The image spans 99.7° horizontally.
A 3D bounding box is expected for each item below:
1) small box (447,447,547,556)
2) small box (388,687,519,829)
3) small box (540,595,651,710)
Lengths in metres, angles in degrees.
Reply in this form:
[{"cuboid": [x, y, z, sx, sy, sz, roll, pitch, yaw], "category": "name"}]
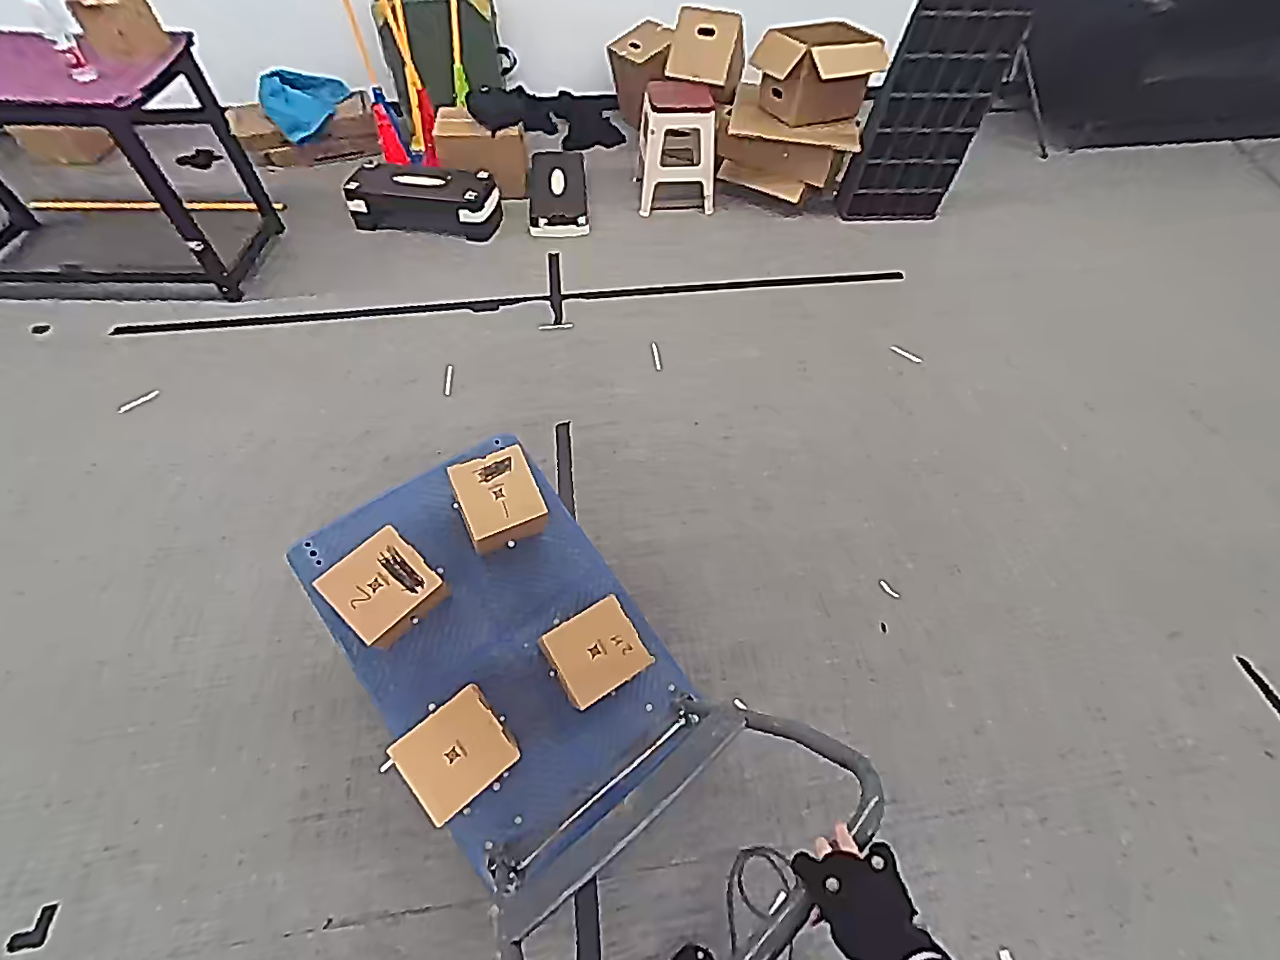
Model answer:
[{"cuboid": [-0.328, 0.053, 1.236, 0.168, 0.176, 0.179, -22, 78, -21], "category": "small box"}, {"cuboid": [-0.354, 0.528, 1.052, 0.179, 0.176, 0.168, -36, 82, -25], "category": "small box"}, {"cuboid": [-0.104, 0.374, 1.172, 0.179, 0.176, 0.168, -28, 79, -22], "category": "small box"}]
